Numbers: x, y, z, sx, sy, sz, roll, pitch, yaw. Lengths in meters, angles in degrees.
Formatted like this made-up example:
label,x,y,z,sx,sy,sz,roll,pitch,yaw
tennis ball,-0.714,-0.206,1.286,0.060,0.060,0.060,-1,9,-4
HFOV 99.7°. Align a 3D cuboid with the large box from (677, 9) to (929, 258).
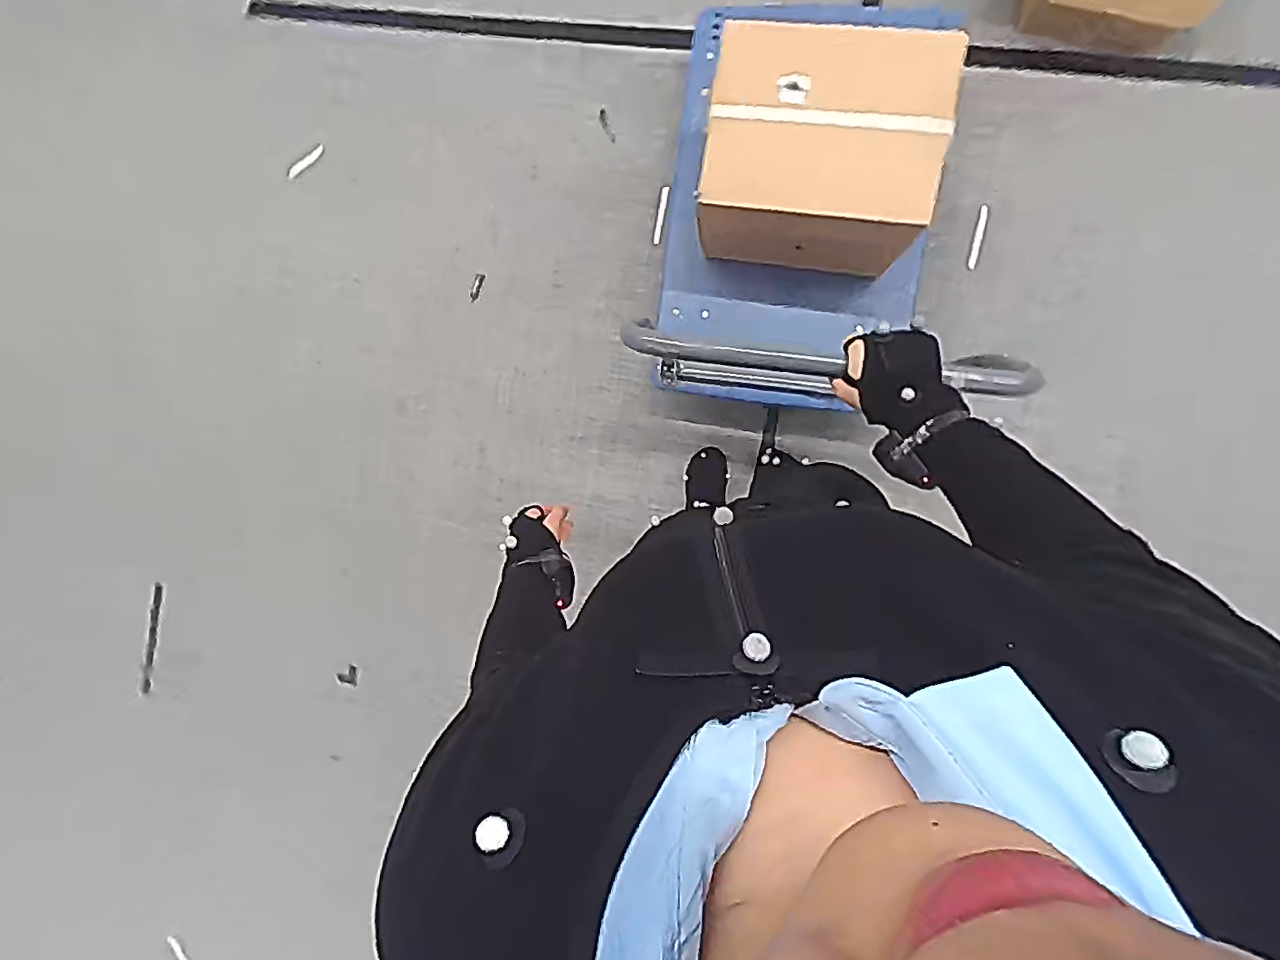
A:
label,x,y,z,sx,sy,sz,roll,pitch,yaw
large box,0.298,-0.643,1.074,0.408,0.320,0.320,5,95,10
